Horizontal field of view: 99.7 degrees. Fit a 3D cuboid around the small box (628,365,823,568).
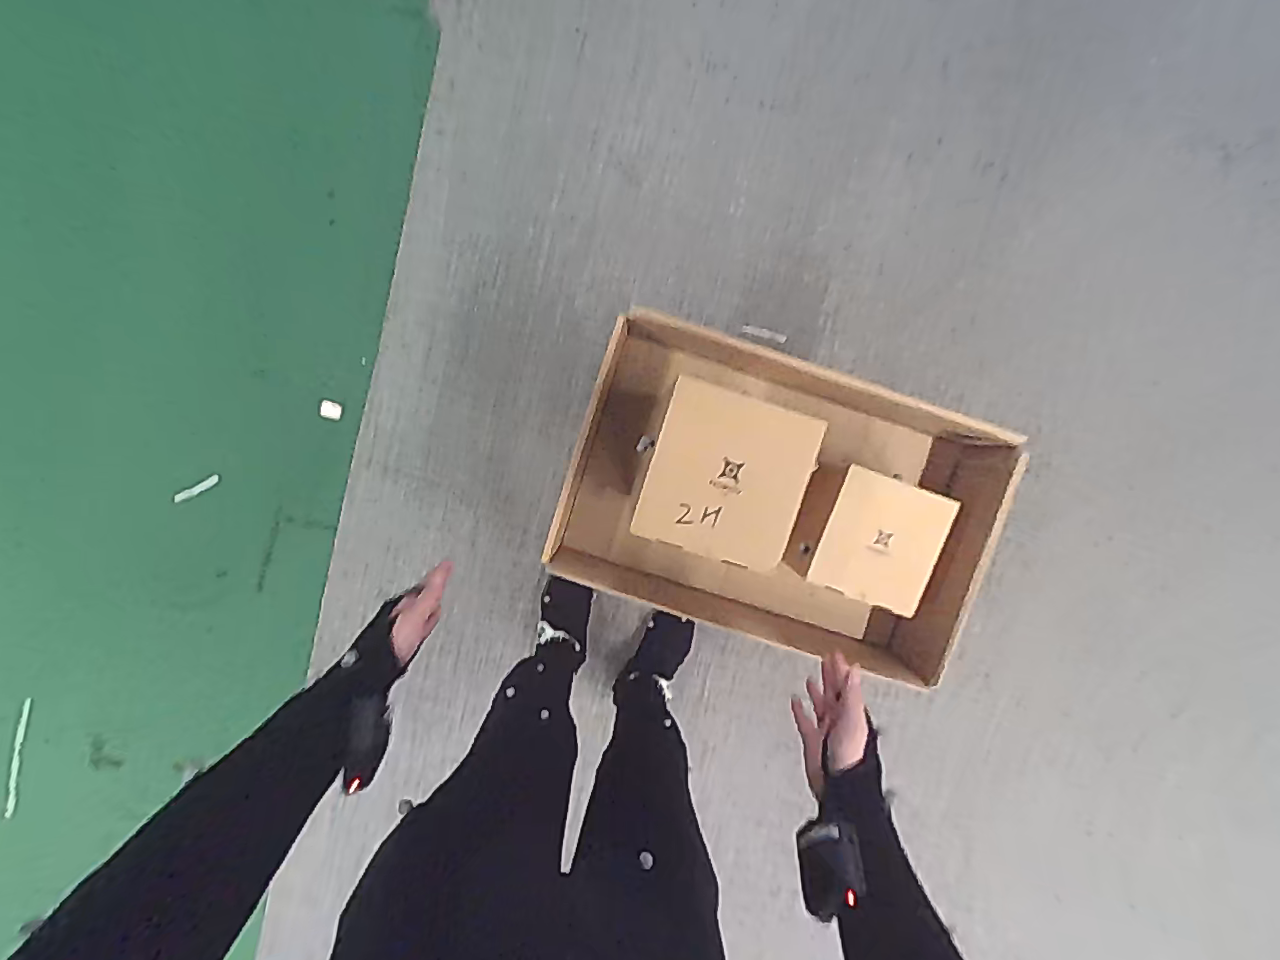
[{"bbox_3d":[0.086,-0.019,0.639,0.168,0.176,0.179,17,94,-2],"label":"small box"}]
